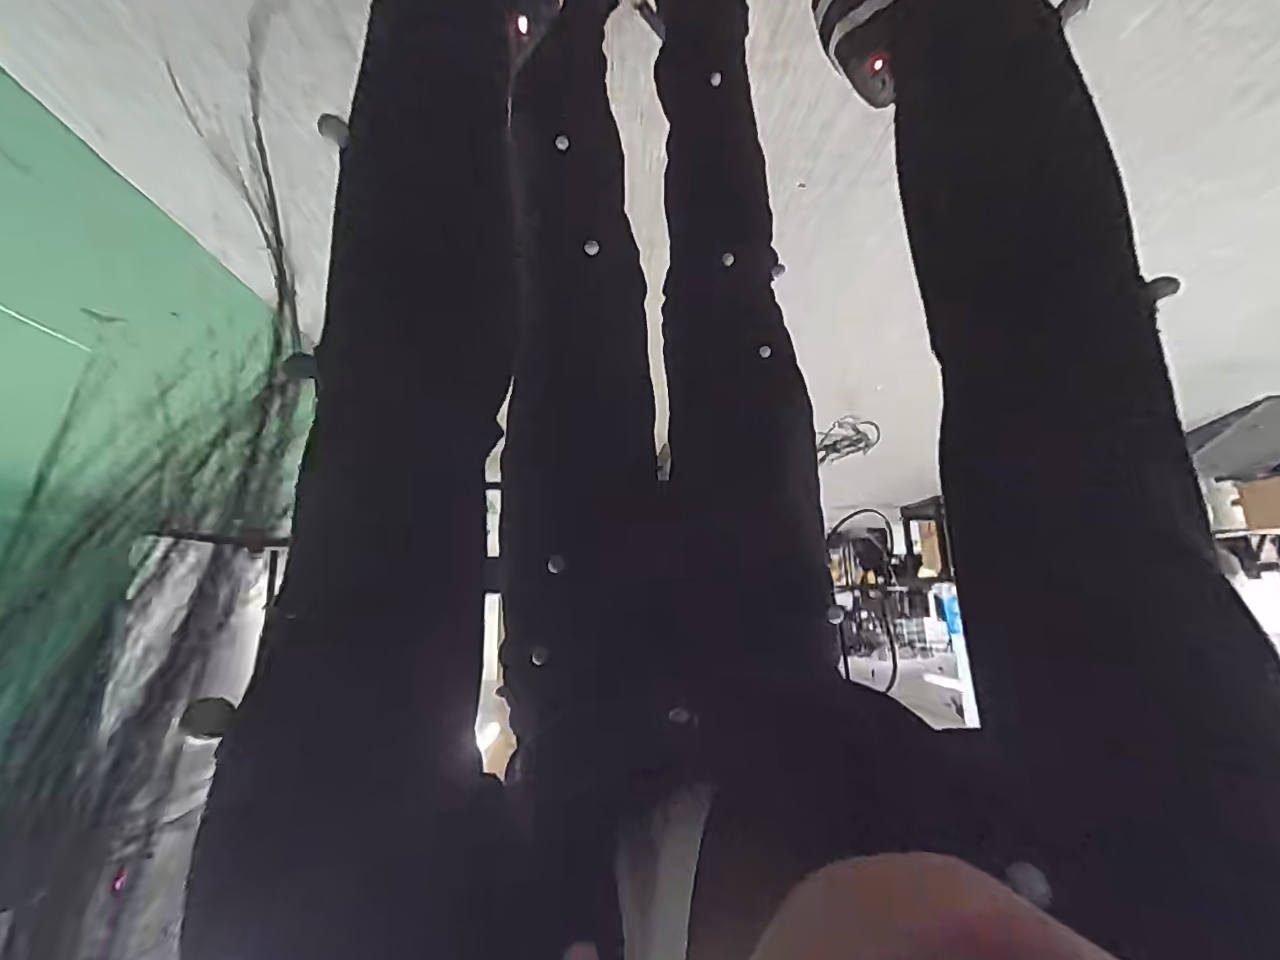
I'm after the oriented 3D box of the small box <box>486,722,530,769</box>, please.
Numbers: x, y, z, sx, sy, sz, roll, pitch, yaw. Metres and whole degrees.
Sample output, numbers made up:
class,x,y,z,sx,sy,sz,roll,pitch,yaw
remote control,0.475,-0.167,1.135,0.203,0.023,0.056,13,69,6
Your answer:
class,x,y,z,sx,sy,sz,roll,pitch,yaw
small box,-0.609,1.229,2.516,0.168,0.176,0.179,1,166,-2
